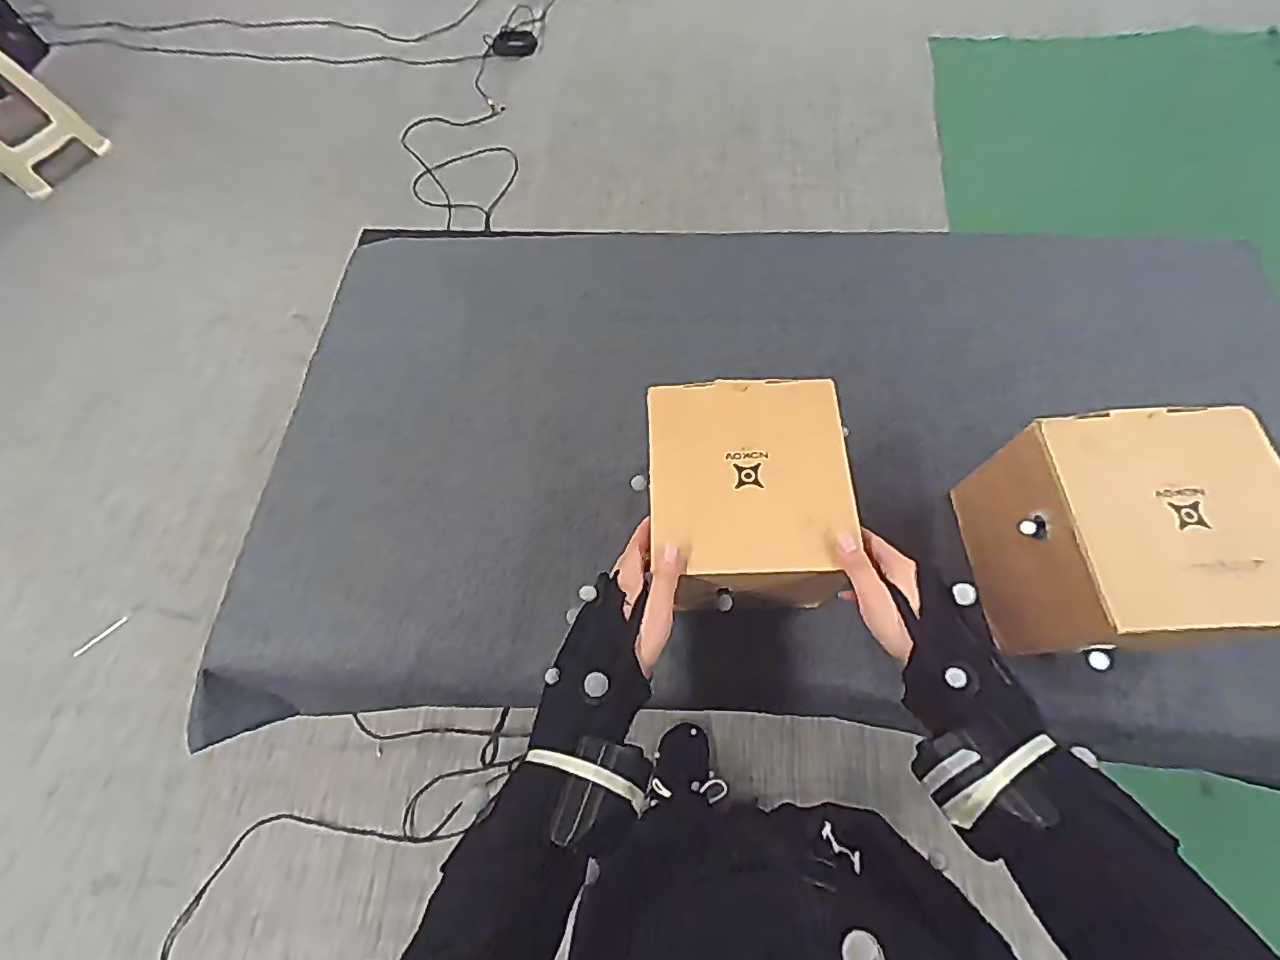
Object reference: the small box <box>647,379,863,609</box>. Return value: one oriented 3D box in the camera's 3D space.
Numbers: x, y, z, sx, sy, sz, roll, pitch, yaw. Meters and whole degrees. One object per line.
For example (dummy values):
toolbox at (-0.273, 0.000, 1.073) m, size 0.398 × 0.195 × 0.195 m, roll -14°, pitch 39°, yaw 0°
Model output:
small box at (0.094, 0.025, 0.518) m, size 0.168 × 0.176 × 0.179 m, roll -2°, pitch 66°, yaw 3°

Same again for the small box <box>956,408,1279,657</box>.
small box at (0.417, 0.056, 0.483) m, size 0.168 × 0.176 × 0.179 m, roll -4°, pitch 67°, yaw 3°
